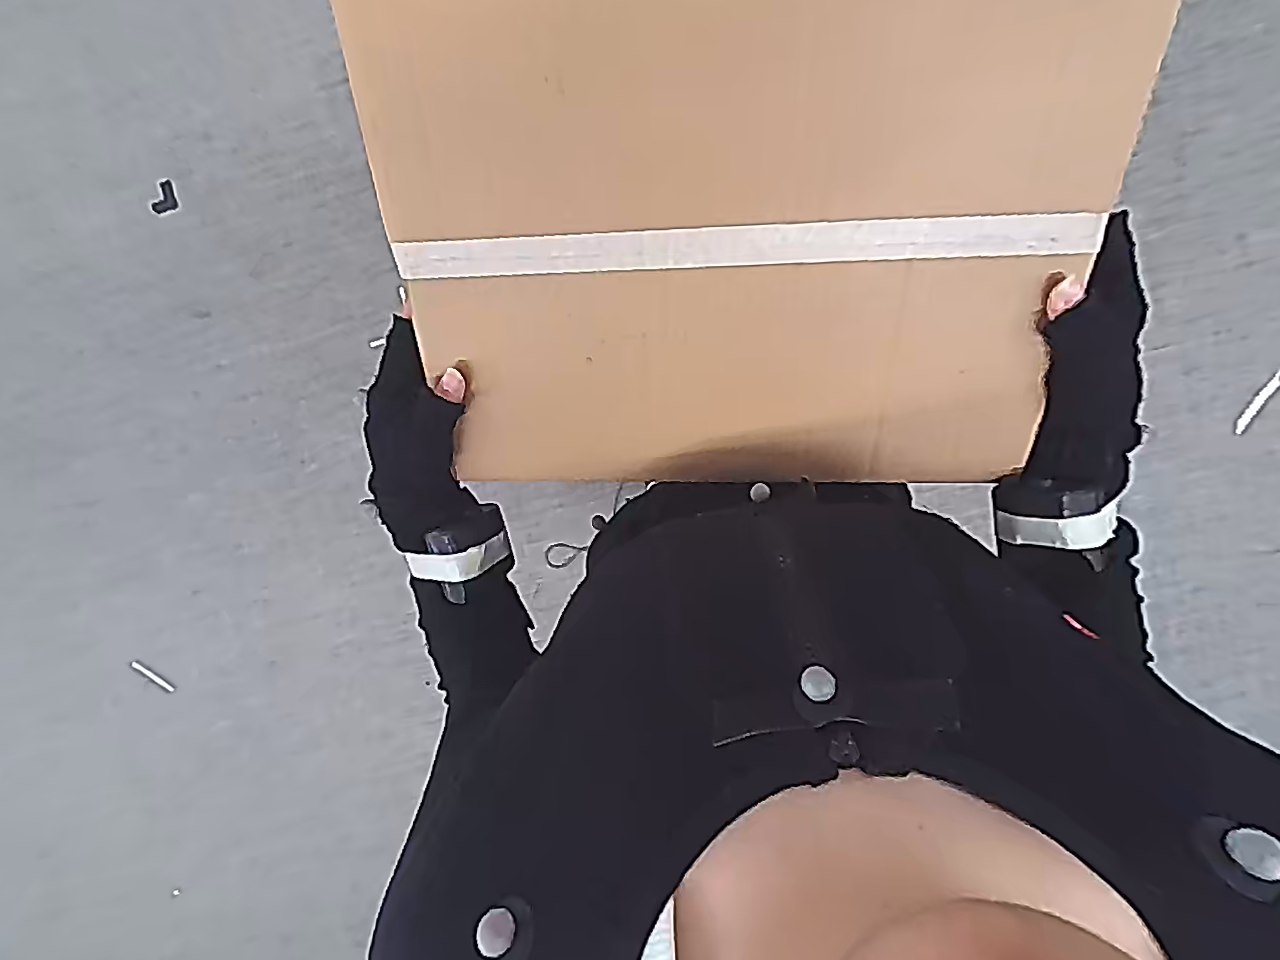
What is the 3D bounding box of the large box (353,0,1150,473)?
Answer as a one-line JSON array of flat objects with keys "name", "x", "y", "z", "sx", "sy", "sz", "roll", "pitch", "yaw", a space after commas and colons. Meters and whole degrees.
[{"name": "large box", "x": 0.062, "y": -0.213, "z": 0.456, "sx": 0.408, "sy": 0.320, "sz": 0.320, "roll": 0, "pitch": 120, "yaw": 5}]
